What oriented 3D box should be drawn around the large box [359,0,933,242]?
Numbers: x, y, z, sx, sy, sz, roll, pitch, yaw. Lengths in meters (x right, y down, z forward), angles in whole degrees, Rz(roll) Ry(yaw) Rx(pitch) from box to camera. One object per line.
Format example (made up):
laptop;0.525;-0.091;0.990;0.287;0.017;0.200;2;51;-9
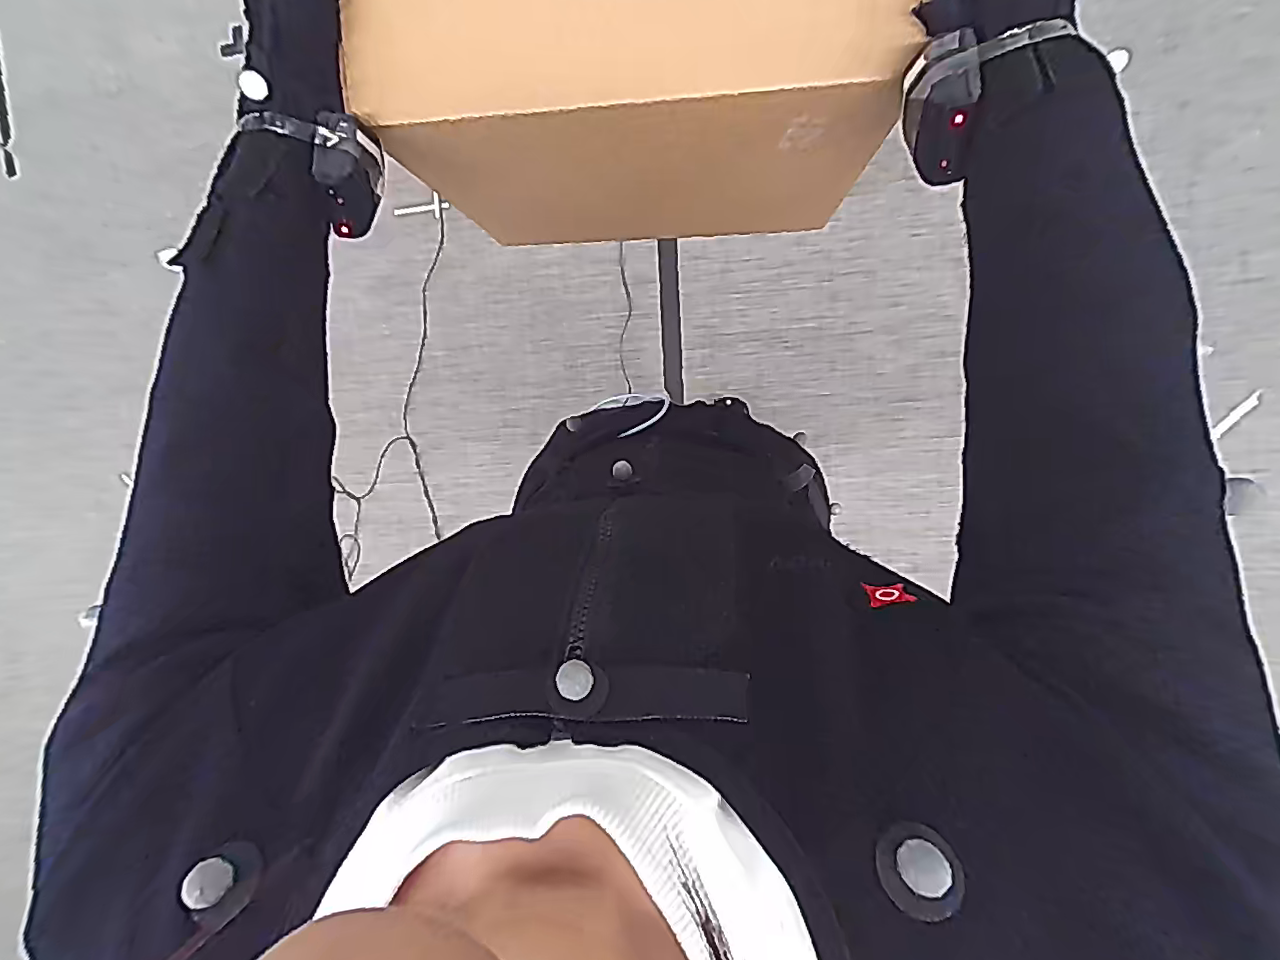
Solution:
large box;0.004;-0.441;0.508;0.408;0.320;0.320;-1;99;6
